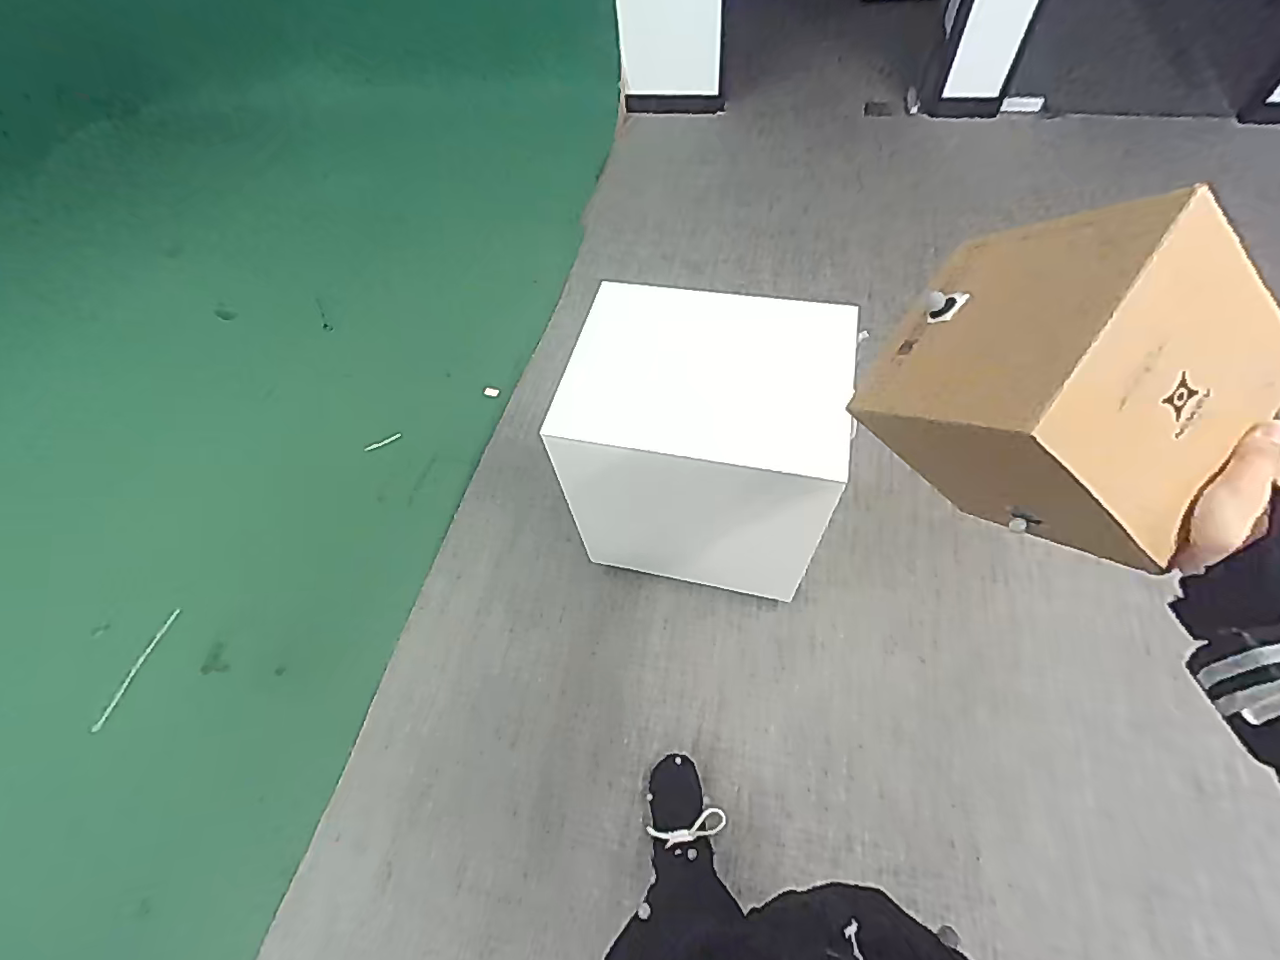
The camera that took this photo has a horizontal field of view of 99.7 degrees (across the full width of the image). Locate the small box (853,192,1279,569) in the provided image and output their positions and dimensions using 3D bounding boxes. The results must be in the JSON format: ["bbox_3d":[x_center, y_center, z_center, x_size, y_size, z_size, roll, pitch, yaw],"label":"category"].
[{"bbox_3d":[0.305,-0.067,0.402,0.179,0.176,0.168,34,91,-19],"label":"small box"}]
